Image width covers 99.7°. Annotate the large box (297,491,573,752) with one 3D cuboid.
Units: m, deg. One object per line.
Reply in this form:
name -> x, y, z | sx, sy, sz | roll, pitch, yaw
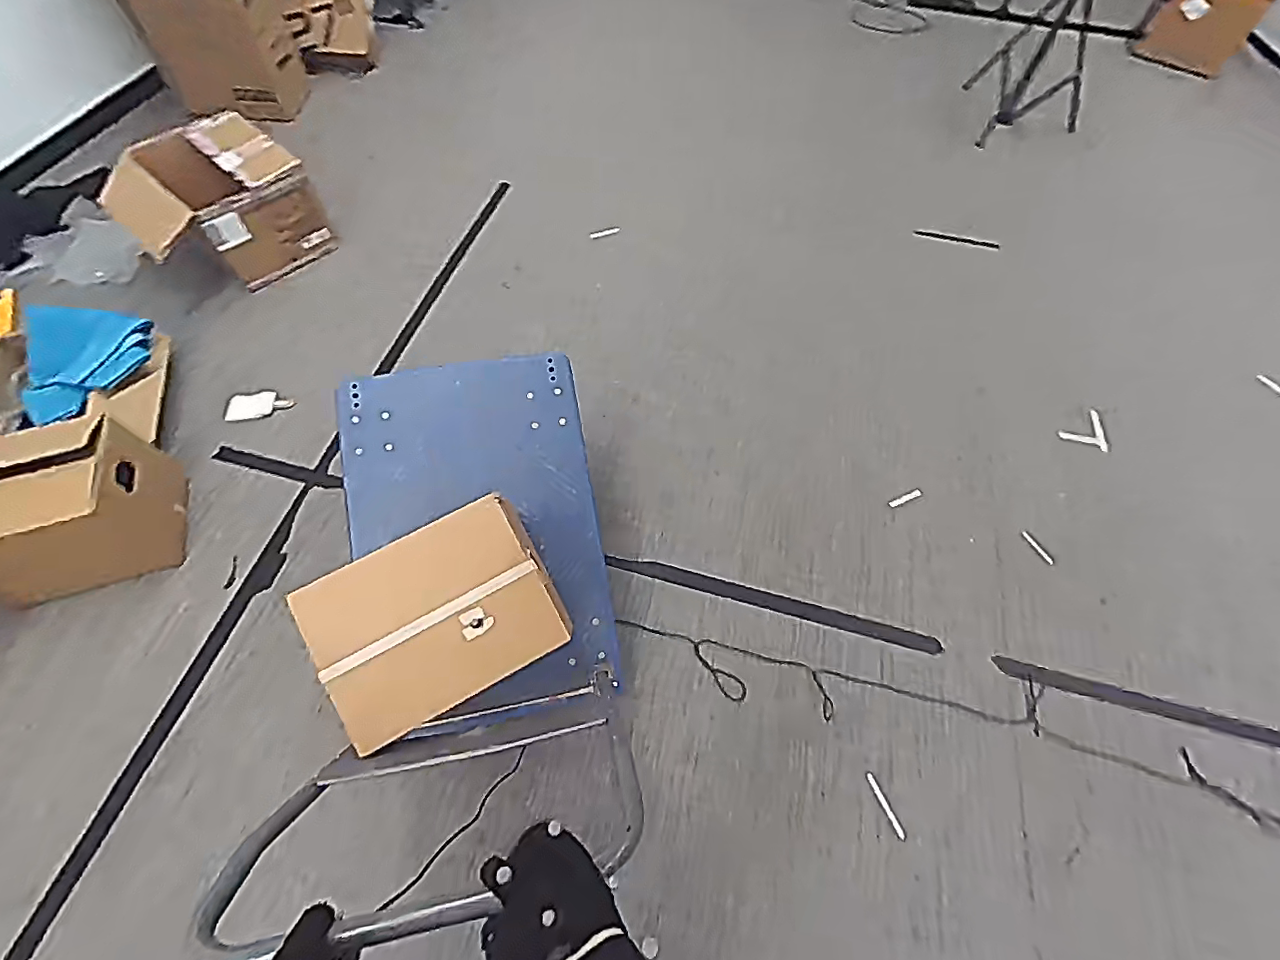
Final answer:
large box -> -0.385, 0.274, 1.123 | 0.408, 0.320, 0.320 | -28, 84, -11
